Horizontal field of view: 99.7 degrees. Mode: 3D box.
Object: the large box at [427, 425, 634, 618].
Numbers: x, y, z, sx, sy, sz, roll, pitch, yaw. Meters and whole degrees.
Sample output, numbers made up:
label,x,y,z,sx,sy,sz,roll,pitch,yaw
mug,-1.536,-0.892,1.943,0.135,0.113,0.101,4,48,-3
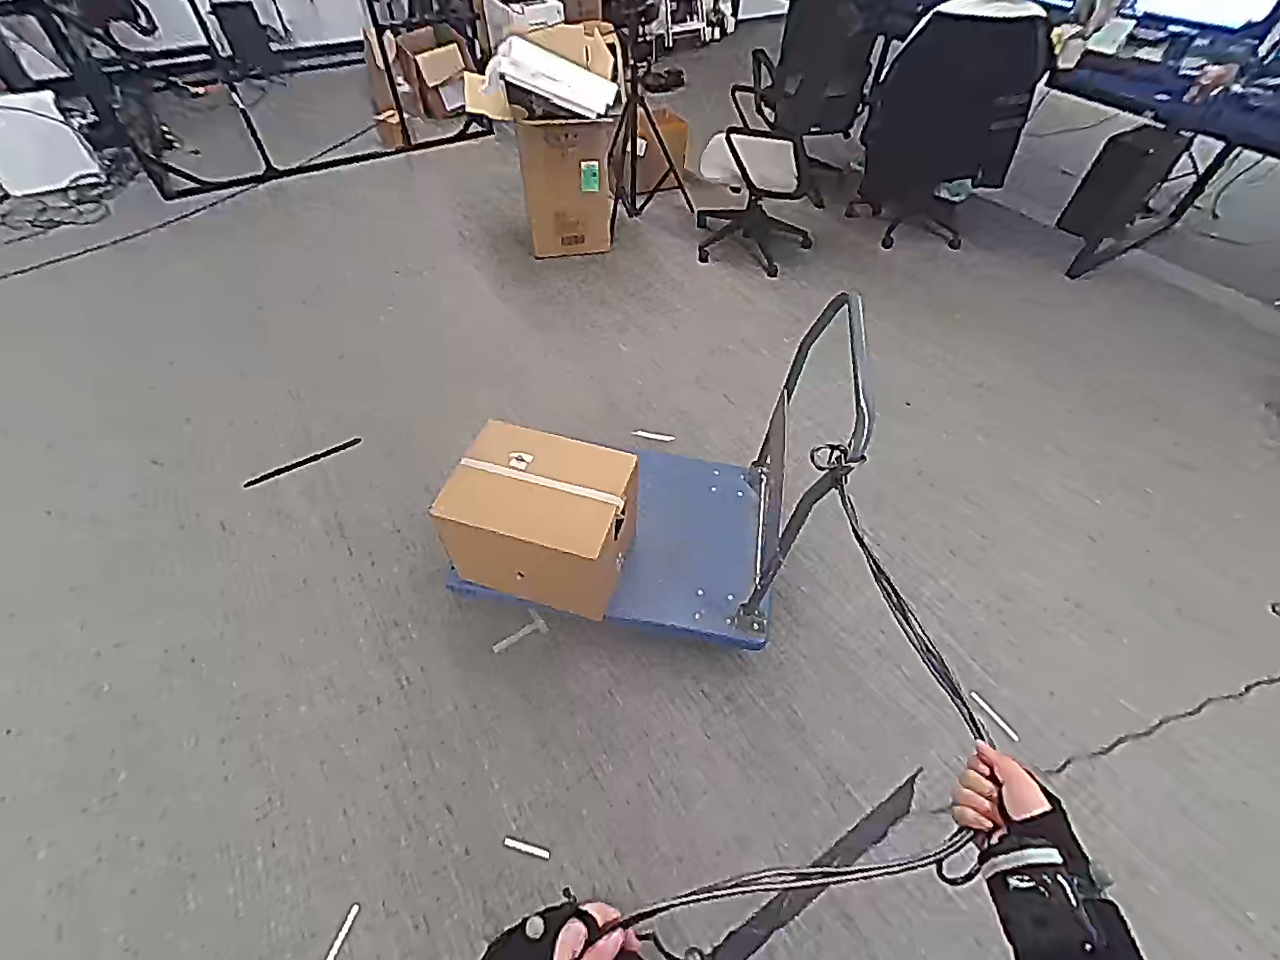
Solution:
label,x,y,z,sx,sy,sz,roll,pitch,yaw
large box,-0.243,0.108,1.371,0.408,0.320,0.320,13,51,10
